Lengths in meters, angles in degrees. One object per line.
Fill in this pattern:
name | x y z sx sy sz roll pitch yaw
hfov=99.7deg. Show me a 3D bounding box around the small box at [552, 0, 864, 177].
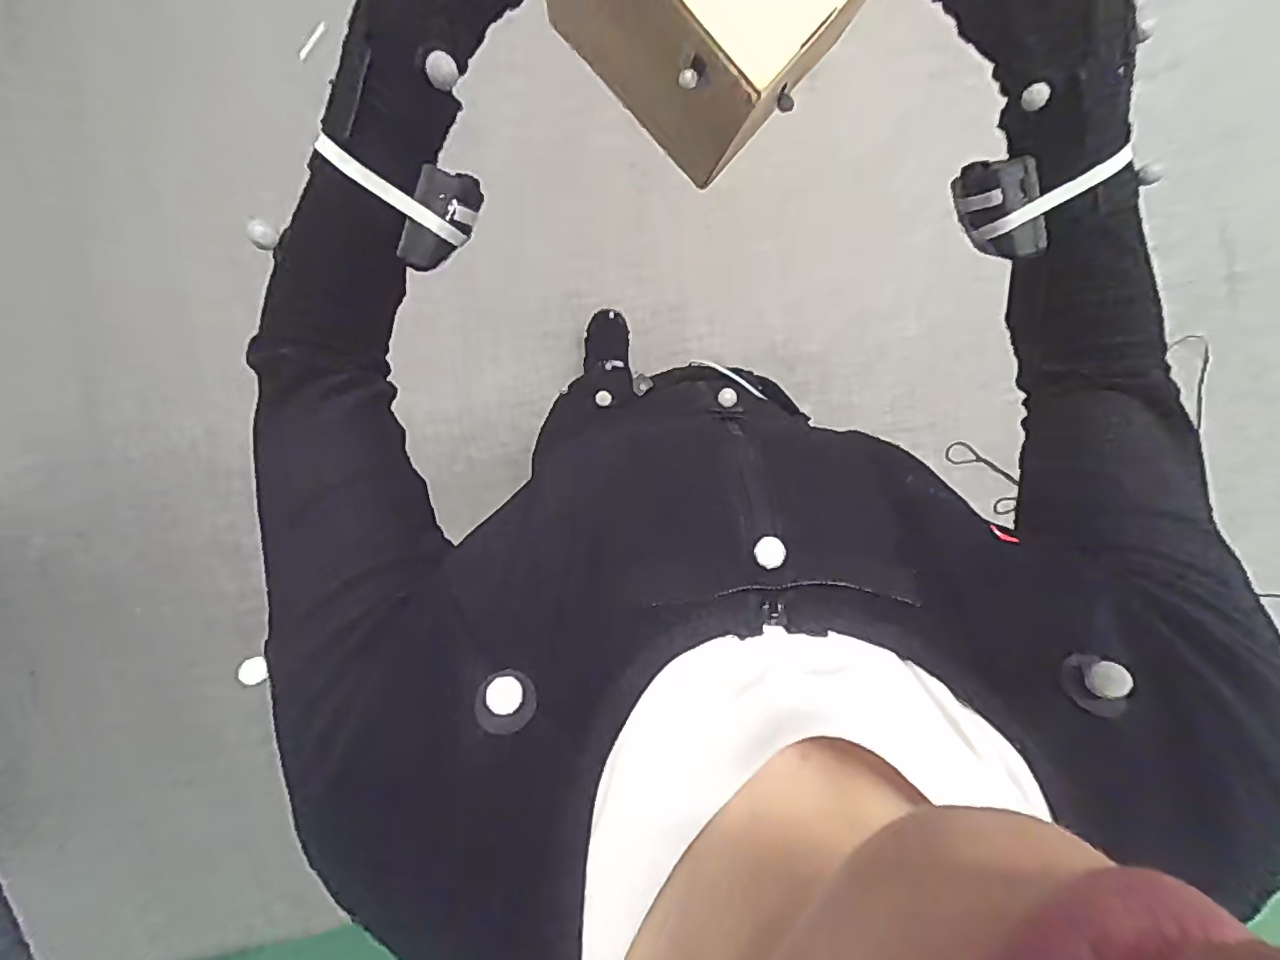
small box | 0.050 -0.348 0.361 0.179 0.176 0.168 43 95 -13
